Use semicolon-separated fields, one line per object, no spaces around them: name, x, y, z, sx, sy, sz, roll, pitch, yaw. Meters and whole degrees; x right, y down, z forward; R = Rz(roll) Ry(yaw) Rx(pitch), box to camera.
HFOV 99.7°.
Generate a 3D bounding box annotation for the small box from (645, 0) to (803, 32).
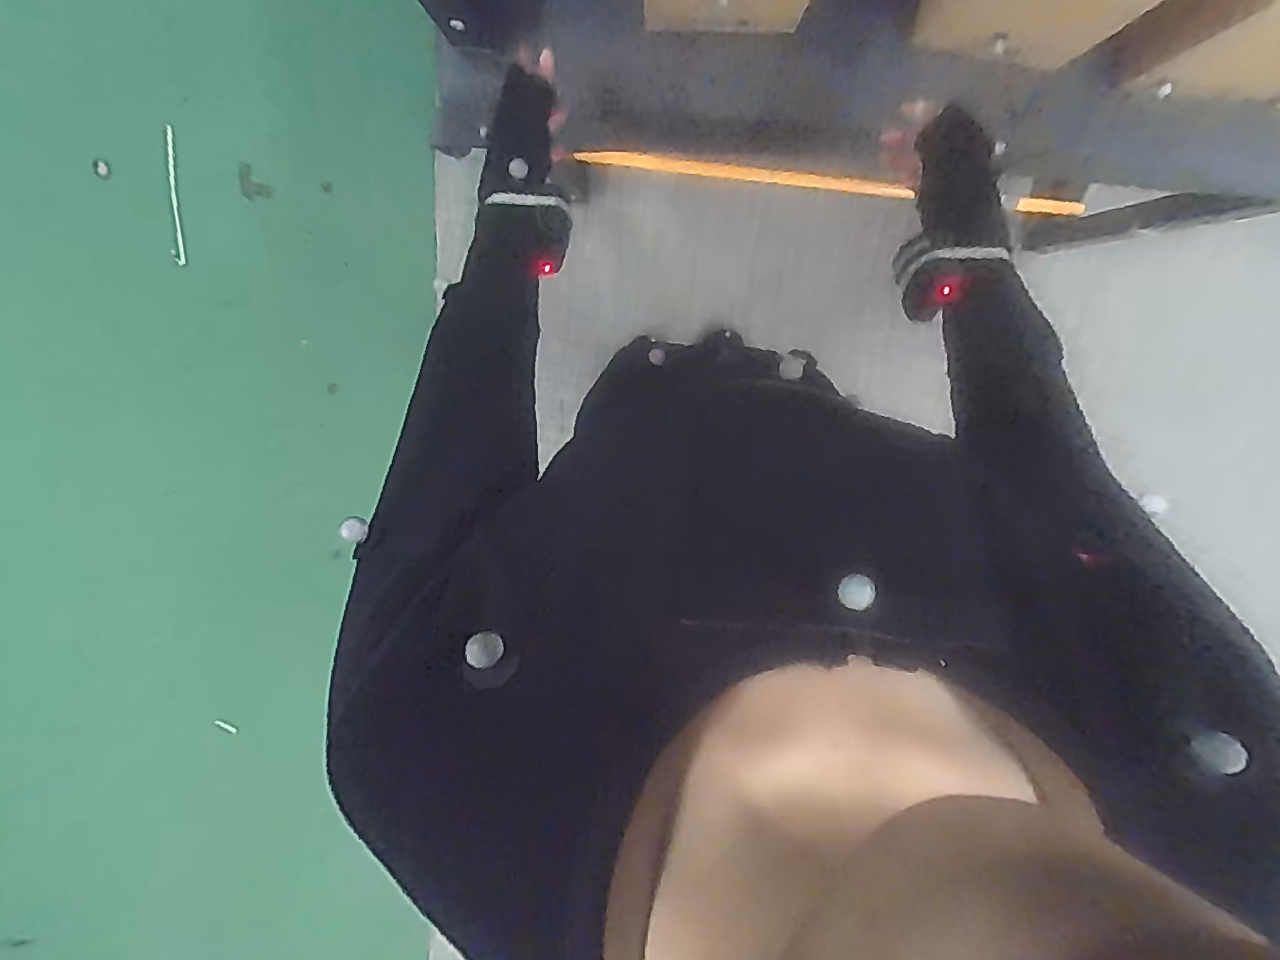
small box;0.086;-0.550;0.494;0.168;0.176;0.179;2;105;1
